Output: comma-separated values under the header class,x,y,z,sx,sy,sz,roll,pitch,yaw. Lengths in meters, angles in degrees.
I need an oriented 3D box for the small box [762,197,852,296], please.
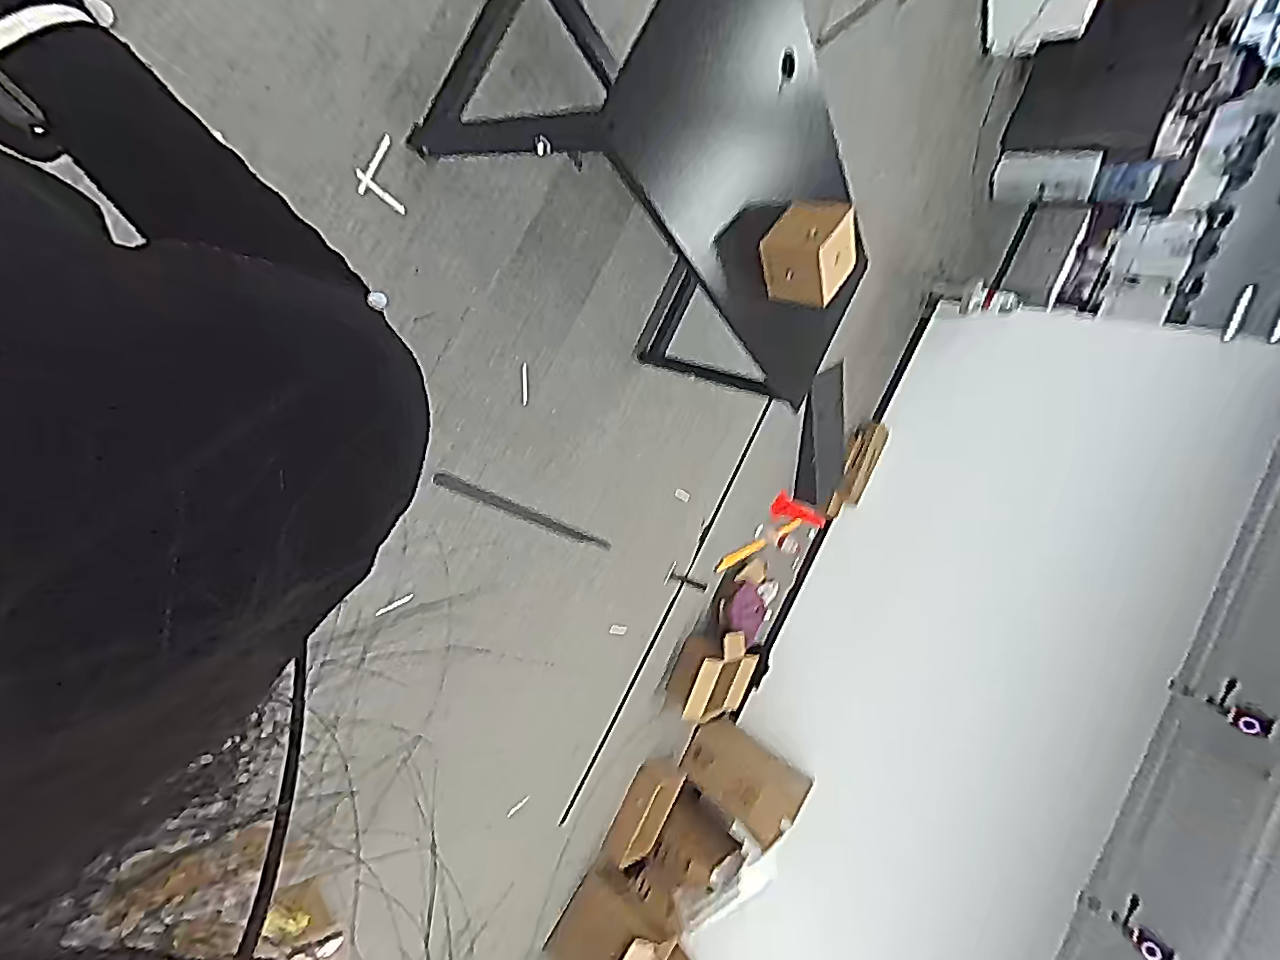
class,x,y,z,sx,sy,sz,roll,pitch,yaw
small box,0.430,-0.609,1.407,0.179,0.176,0.168,-53,143,-18
